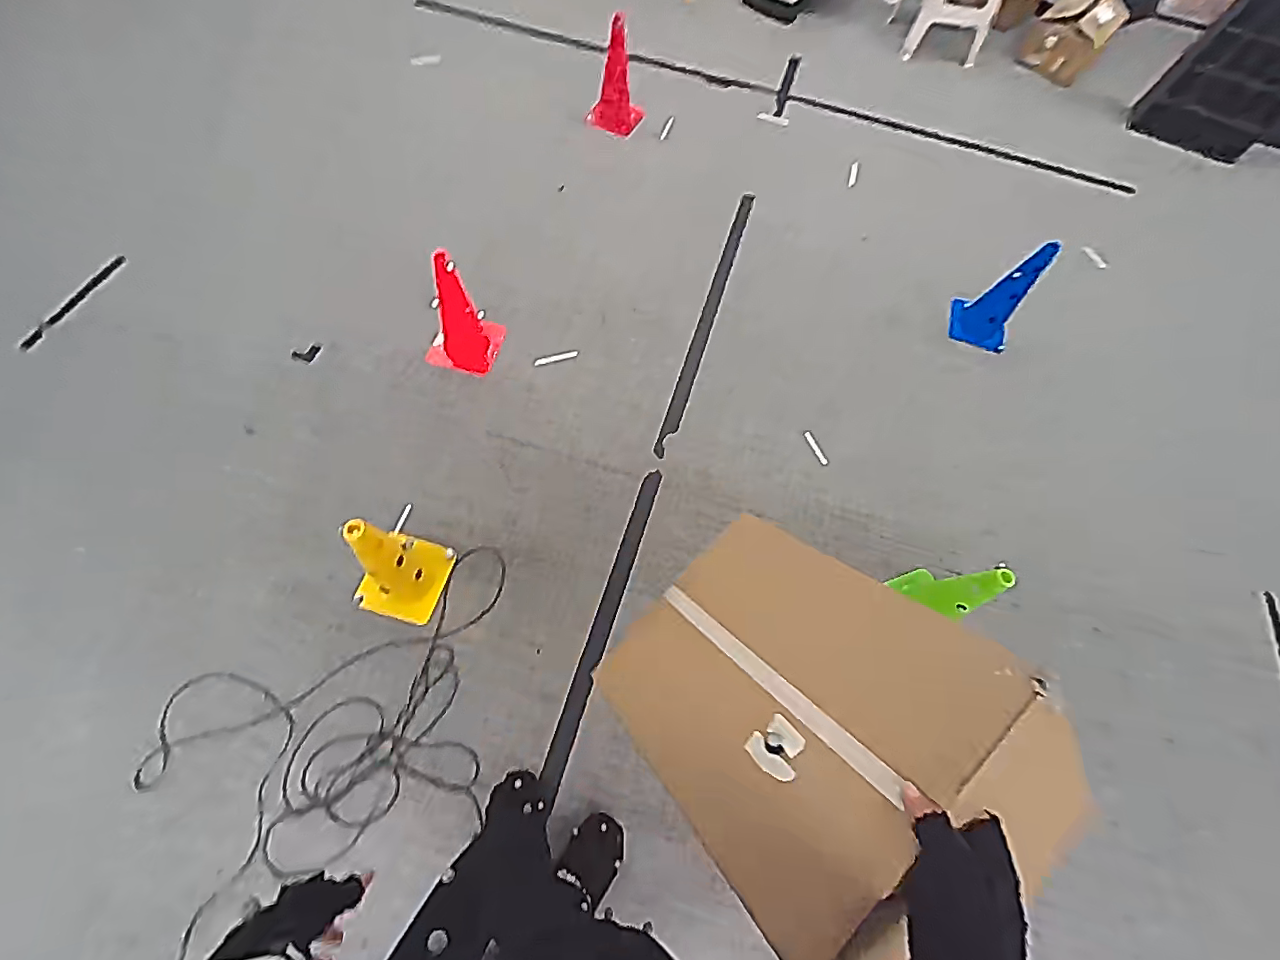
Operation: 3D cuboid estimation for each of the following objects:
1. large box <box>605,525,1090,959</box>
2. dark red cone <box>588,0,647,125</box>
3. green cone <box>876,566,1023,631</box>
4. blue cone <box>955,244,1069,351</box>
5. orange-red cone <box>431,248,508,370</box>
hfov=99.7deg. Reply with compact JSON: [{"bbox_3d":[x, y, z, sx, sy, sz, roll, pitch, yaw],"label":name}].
[{"bbox_3d":[0.228,0.318,0.667,0.320,0.408,0.320,-45,121,-9],"label":"large box"},{"bbox_3d":[-0.073,-1.610,2.077,0.201,0.394,0.202,23,65,4],"label":"dark red cone"},{"bbox_3d":[0.772,0.282,1.308,0.202,0.368,0.200,-16,69,-14],"label":"green cone"},{"bbox_3d":[1.245,-0.624,1.794,0.192,0.380,0.193,21,65,3],"label":"blue cone"},{"bbox_3d":[-0.524,-0.510,1.549,0.198,0.360,0.199,15,66,2],"label":"orange-red cone"}]
